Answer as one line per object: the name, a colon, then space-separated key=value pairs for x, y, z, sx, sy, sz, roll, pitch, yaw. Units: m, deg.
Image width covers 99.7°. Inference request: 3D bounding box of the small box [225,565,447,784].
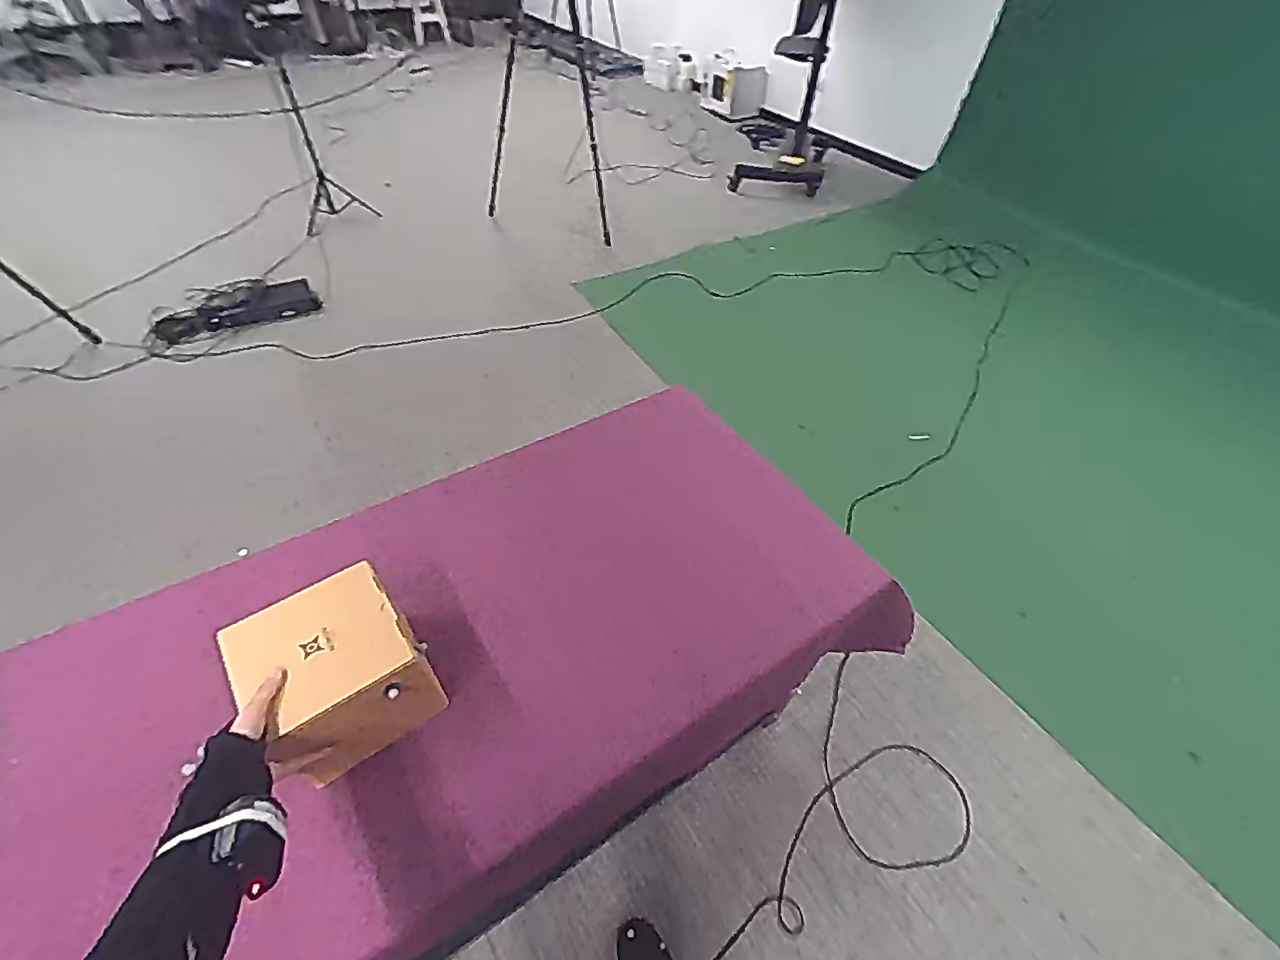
small box: x=-0.376 y=0.250 z=0.692 sx=0.179 sy=0.176 sz=0.168 roll=-29 pitch=56 yaw=-26
